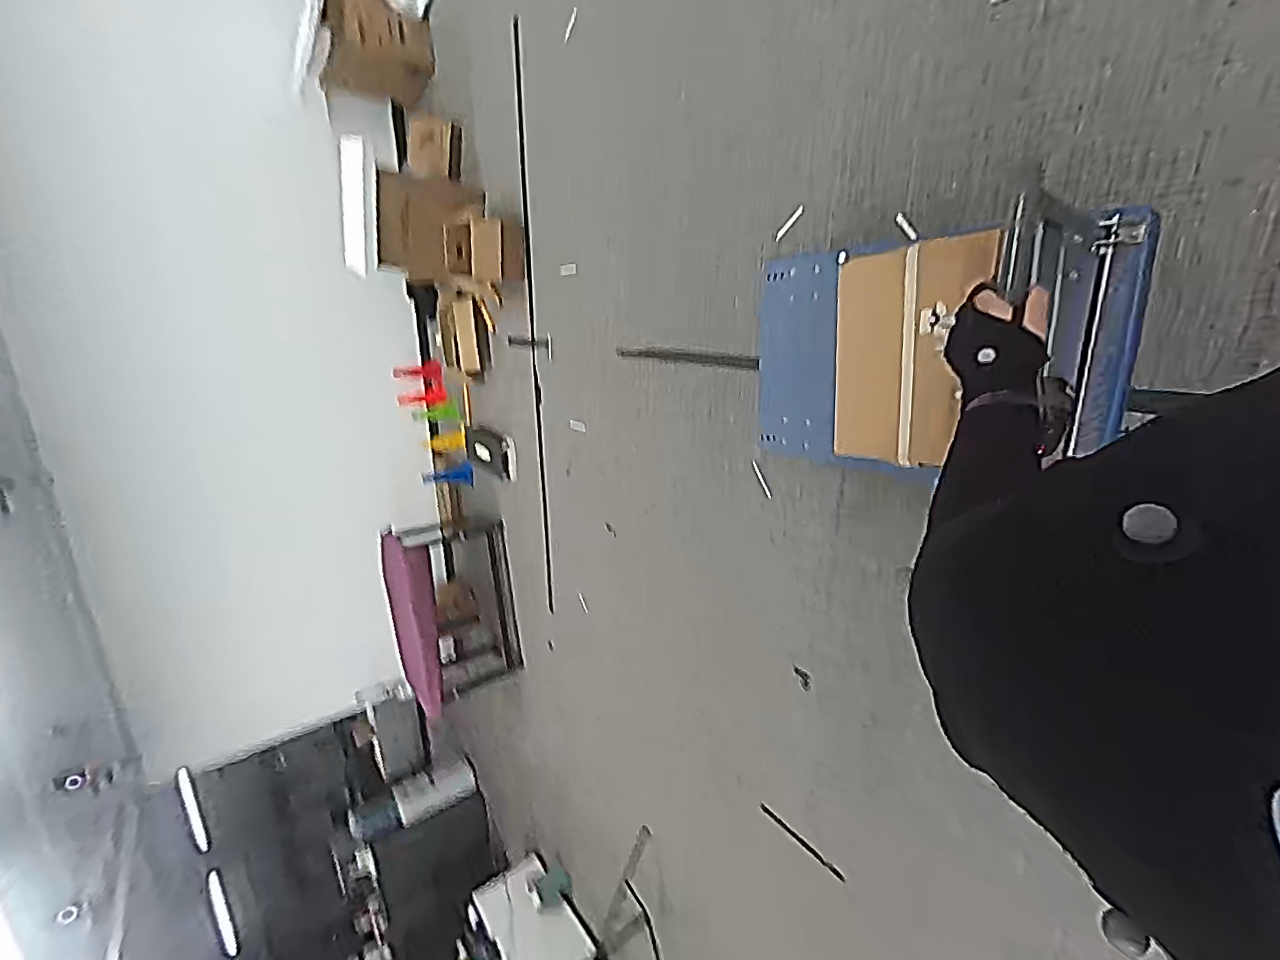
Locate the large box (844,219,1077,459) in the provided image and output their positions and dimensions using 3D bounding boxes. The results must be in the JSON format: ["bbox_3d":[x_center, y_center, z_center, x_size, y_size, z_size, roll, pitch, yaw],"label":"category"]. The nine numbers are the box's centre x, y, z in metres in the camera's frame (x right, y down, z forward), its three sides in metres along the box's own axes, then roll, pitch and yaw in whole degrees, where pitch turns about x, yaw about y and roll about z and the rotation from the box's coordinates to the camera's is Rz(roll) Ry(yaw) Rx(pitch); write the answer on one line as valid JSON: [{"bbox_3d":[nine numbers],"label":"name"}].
[{"bbox_3d":[0.650,-0.269,1.115,0.320,0.320,0.408,12,108,50],"label":"large box"}]
